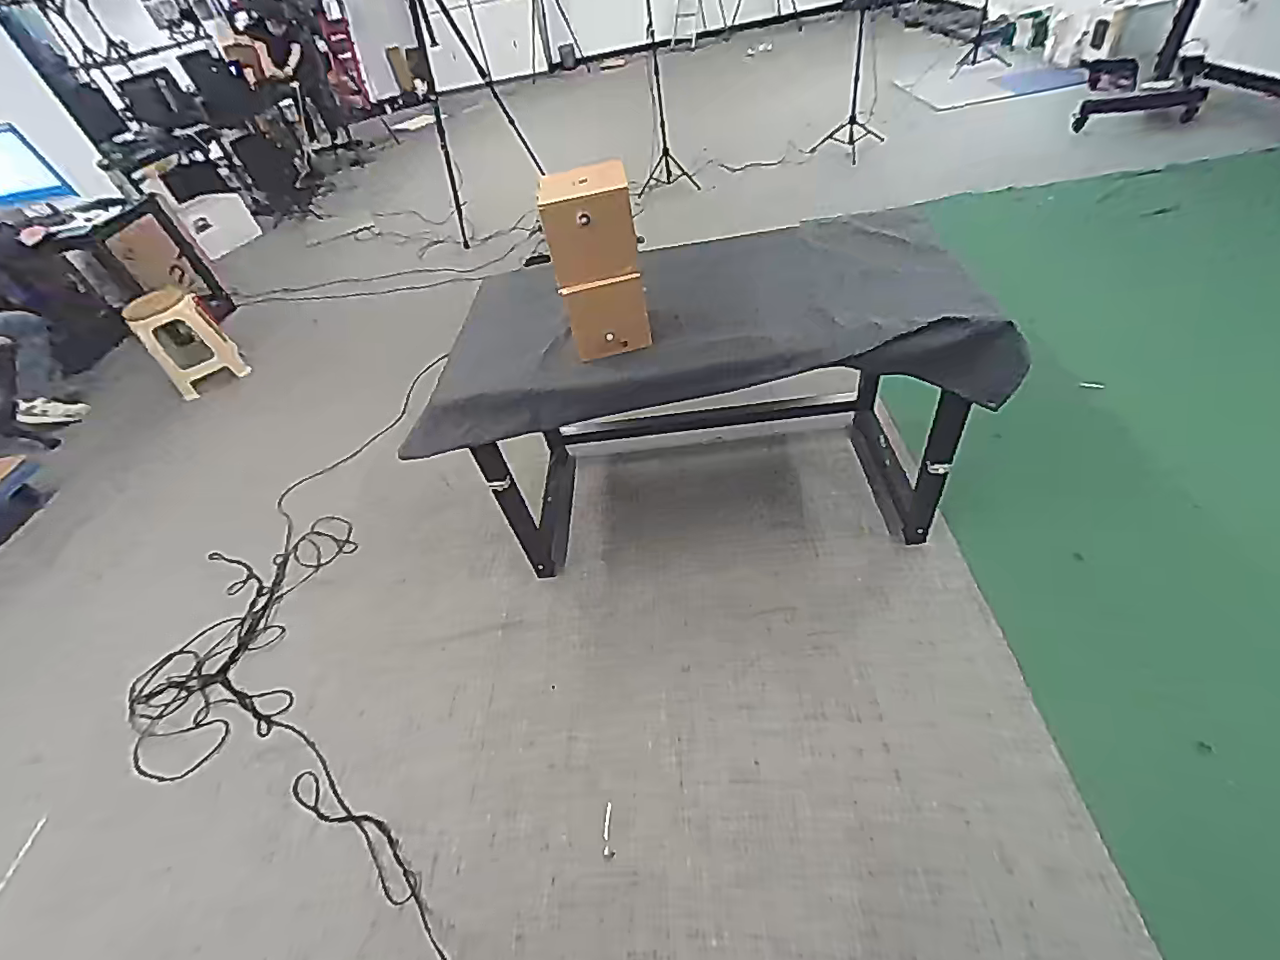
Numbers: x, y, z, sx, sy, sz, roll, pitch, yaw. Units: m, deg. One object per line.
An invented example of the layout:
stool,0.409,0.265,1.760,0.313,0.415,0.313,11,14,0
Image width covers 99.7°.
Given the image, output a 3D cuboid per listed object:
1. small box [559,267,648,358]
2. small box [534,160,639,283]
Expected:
small box,-0.083,-0.400,1.206,0.168,0.176,0.179,-14,46,-1
small box,-0.106,-0.522,1.101,0.179,0.176,0.168,-10,47,2
